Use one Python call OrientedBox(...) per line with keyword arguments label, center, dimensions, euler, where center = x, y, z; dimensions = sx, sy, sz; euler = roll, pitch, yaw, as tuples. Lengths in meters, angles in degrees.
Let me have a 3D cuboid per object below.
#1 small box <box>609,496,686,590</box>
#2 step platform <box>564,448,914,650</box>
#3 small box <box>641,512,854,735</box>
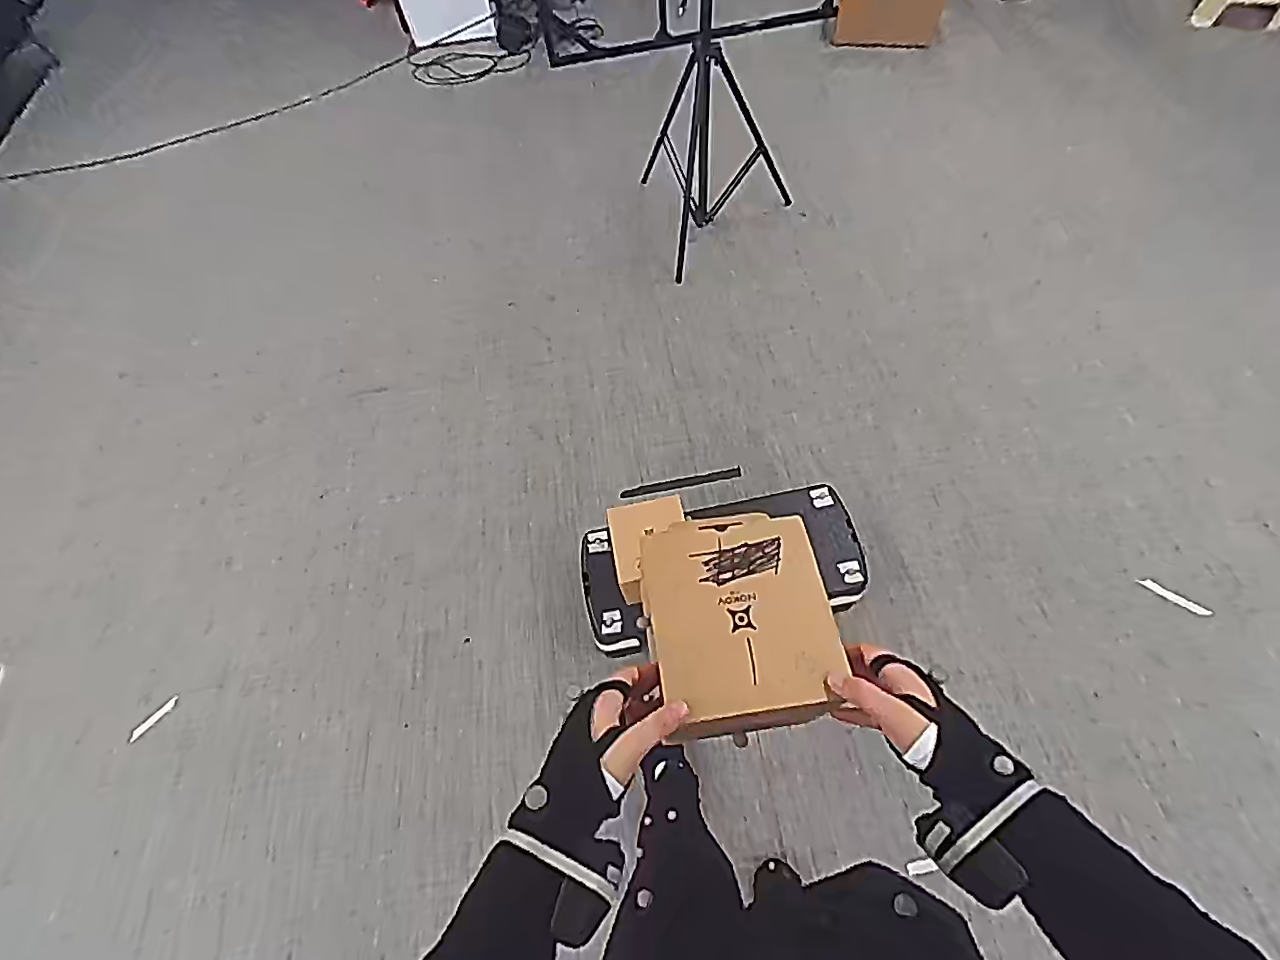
OrientedBox(label="small box", center=(0.027, 0.162, 1.214), dimensions=(0.168, 0.176, 0.179), euler=(-11, 62, -1))
OrientedBox(label="step platform", center=(0.193, 0.155, 1.162), dimensions=(0.684, 0.204, 0.286), euler=(-11, 62, -1))
OrientedBox(label="small box", center=(0.091, 0.154, 0.564), dimensions=(0.168, 0.176, 0.179), euler=(-7, 60, -3))
